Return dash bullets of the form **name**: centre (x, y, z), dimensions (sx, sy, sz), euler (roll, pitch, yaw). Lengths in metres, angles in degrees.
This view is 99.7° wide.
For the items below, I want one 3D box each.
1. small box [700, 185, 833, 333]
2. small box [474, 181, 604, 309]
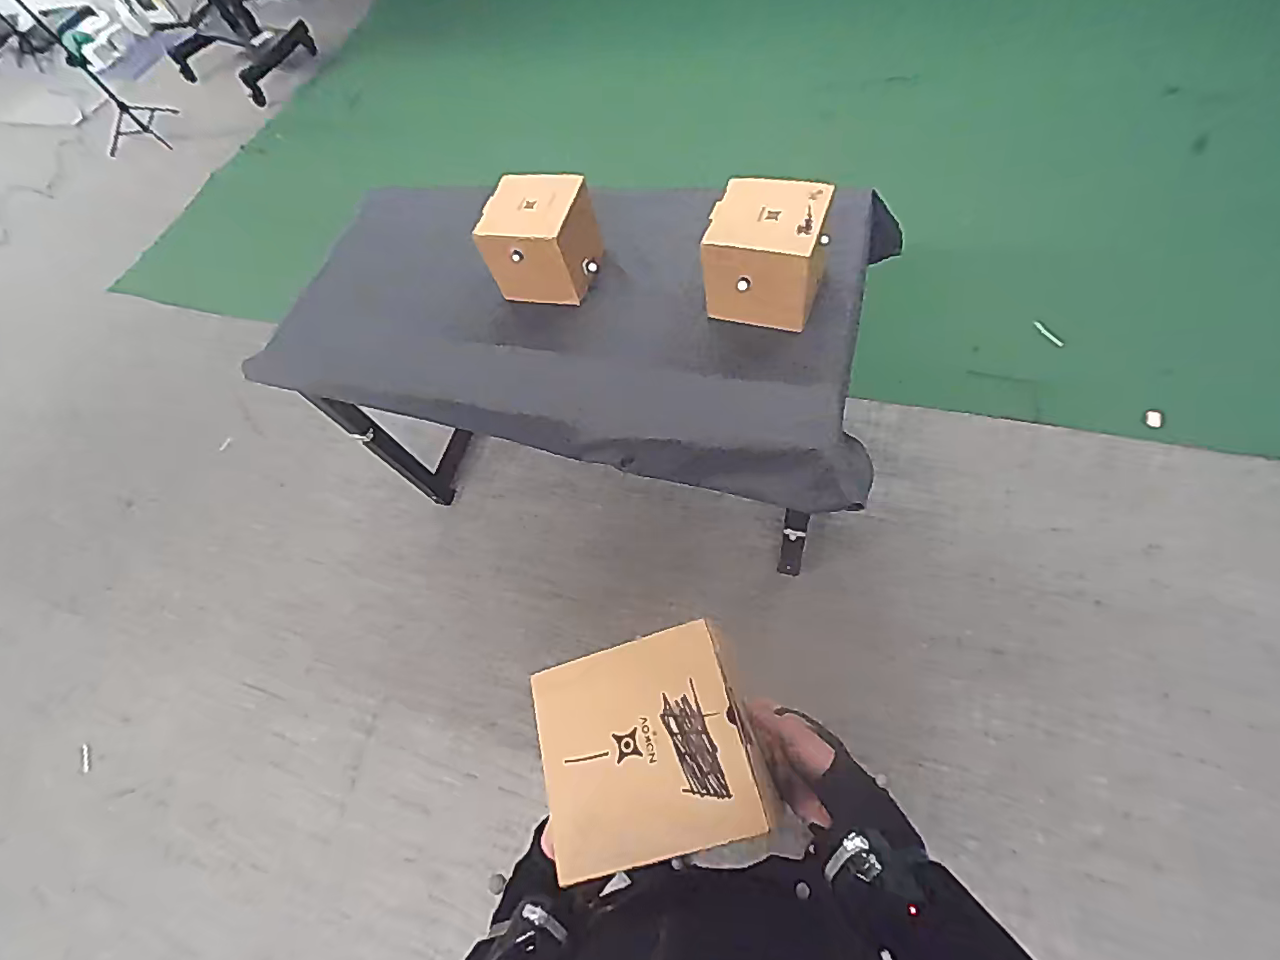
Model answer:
- **small box**: centre (0.219, -0.378, 0.936), dimensions (0.179, 0.176, 0.168), euler (15, 68, 20)
- **small box**: centre (-0.189, -0.460, 1.069), dimensions (0.179, 0.176, 0.168), euler (10, 67, 15)
